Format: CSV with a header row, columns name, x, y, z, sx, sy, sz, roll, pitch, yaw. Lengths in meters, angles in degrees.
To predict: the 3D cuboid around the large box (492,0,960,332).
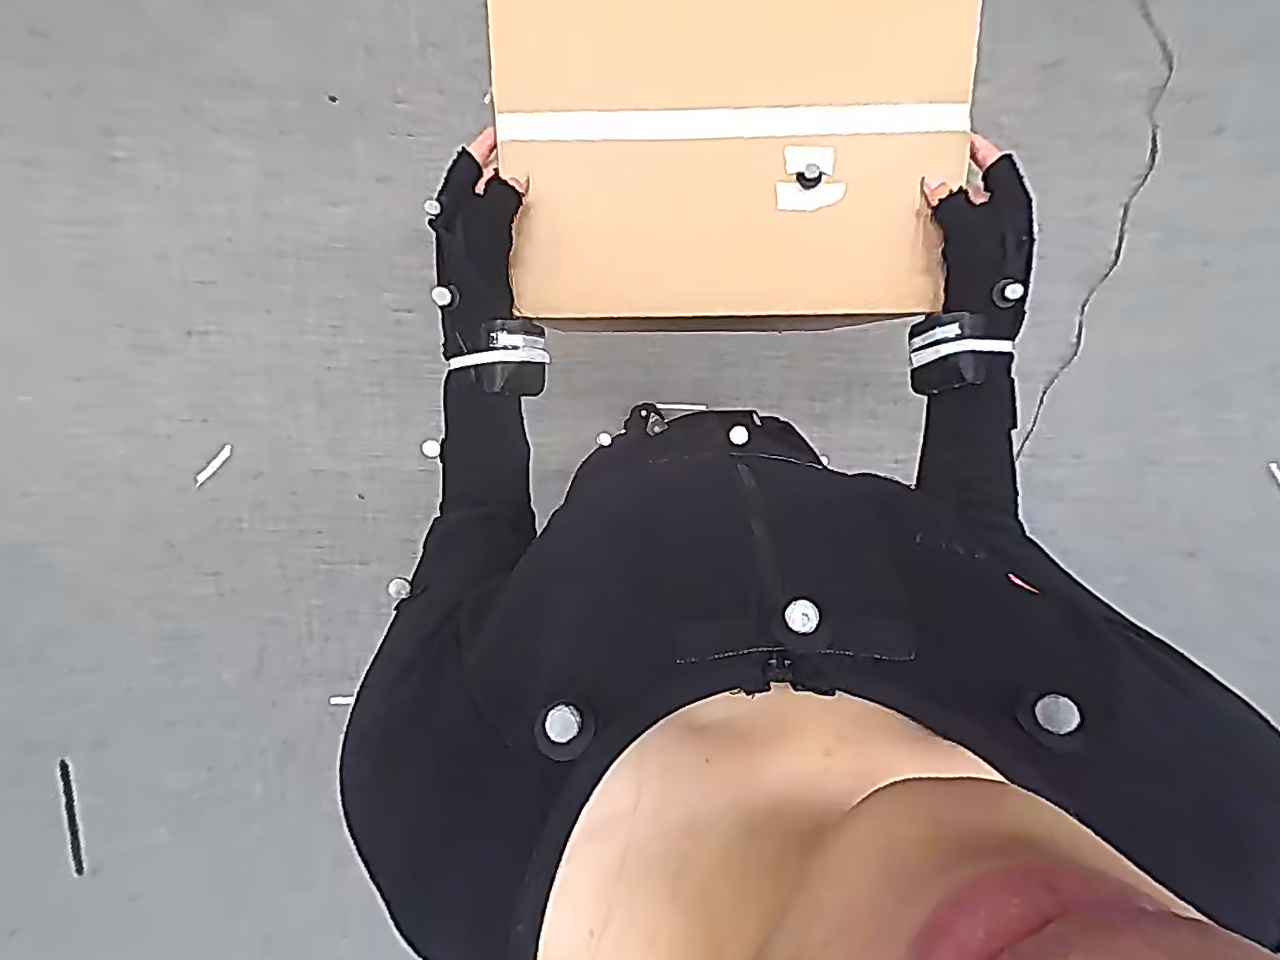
name,x,y,z,sx,sy,sz,roll,pitch,yaw
large box,0.073,-0.344,0.622,0.408,0.320,0.320,-1,103,0
